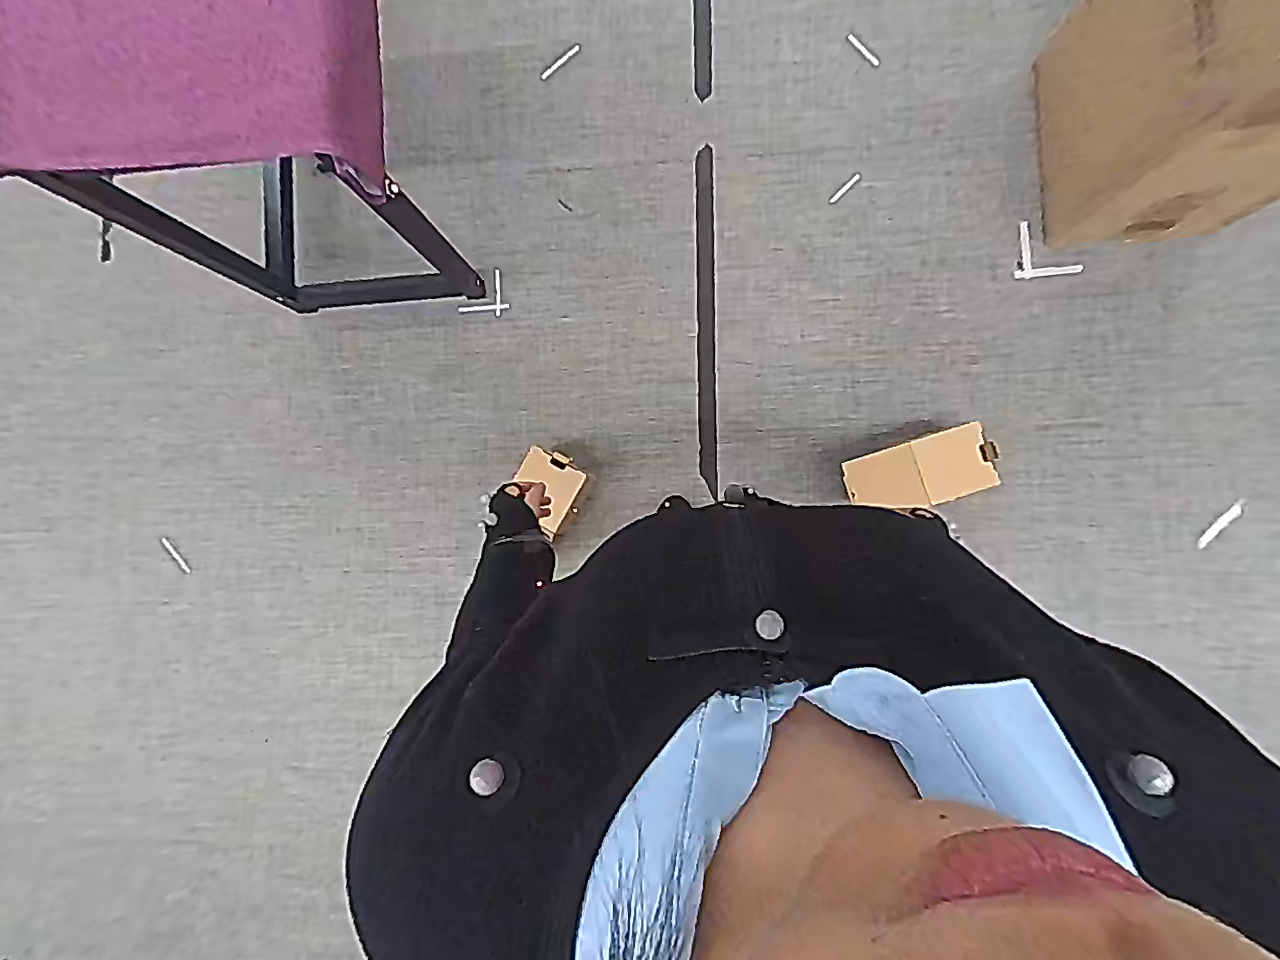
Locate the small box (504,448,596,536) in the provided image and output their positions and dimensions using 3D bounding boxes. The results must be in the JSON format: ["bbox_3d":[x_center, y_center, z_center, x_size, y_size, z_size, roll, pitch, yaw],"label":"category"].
[{"bbox_3d":[-0.234,0.034,1.464,0.168,0.176,0.179,29,90,5],"label":"small box"}]
